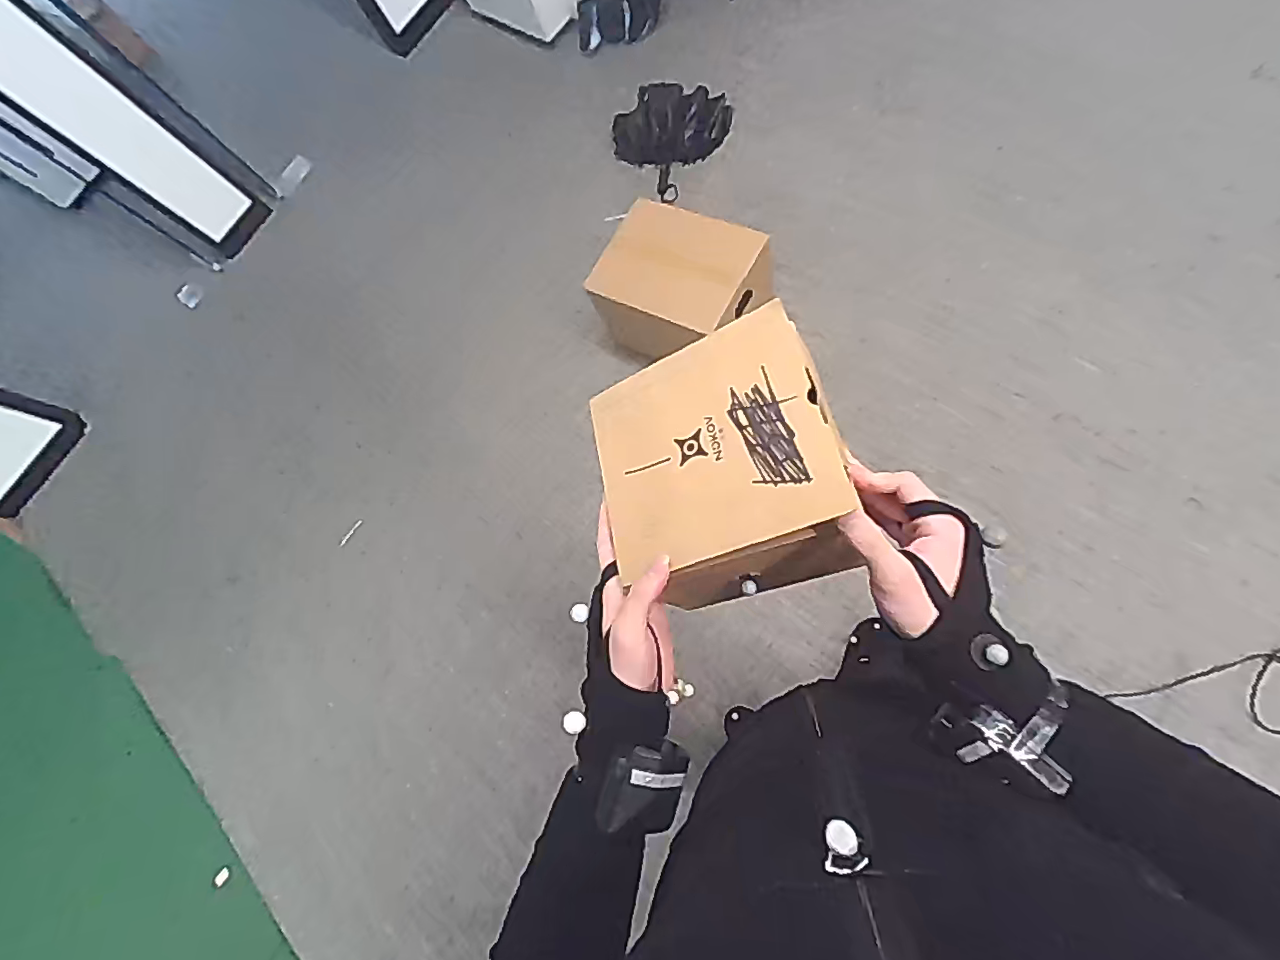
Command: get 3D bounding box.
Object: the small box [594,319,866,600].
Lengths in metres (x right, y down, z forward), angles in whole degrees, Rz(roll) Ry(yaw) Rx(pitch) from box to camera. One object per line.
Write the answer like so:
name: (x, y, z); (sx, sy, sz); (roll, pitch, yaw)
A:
small box: (0.082, -0.001, 0.472); (0.179, 0.176, 0.168); (-19, 66, 17)
